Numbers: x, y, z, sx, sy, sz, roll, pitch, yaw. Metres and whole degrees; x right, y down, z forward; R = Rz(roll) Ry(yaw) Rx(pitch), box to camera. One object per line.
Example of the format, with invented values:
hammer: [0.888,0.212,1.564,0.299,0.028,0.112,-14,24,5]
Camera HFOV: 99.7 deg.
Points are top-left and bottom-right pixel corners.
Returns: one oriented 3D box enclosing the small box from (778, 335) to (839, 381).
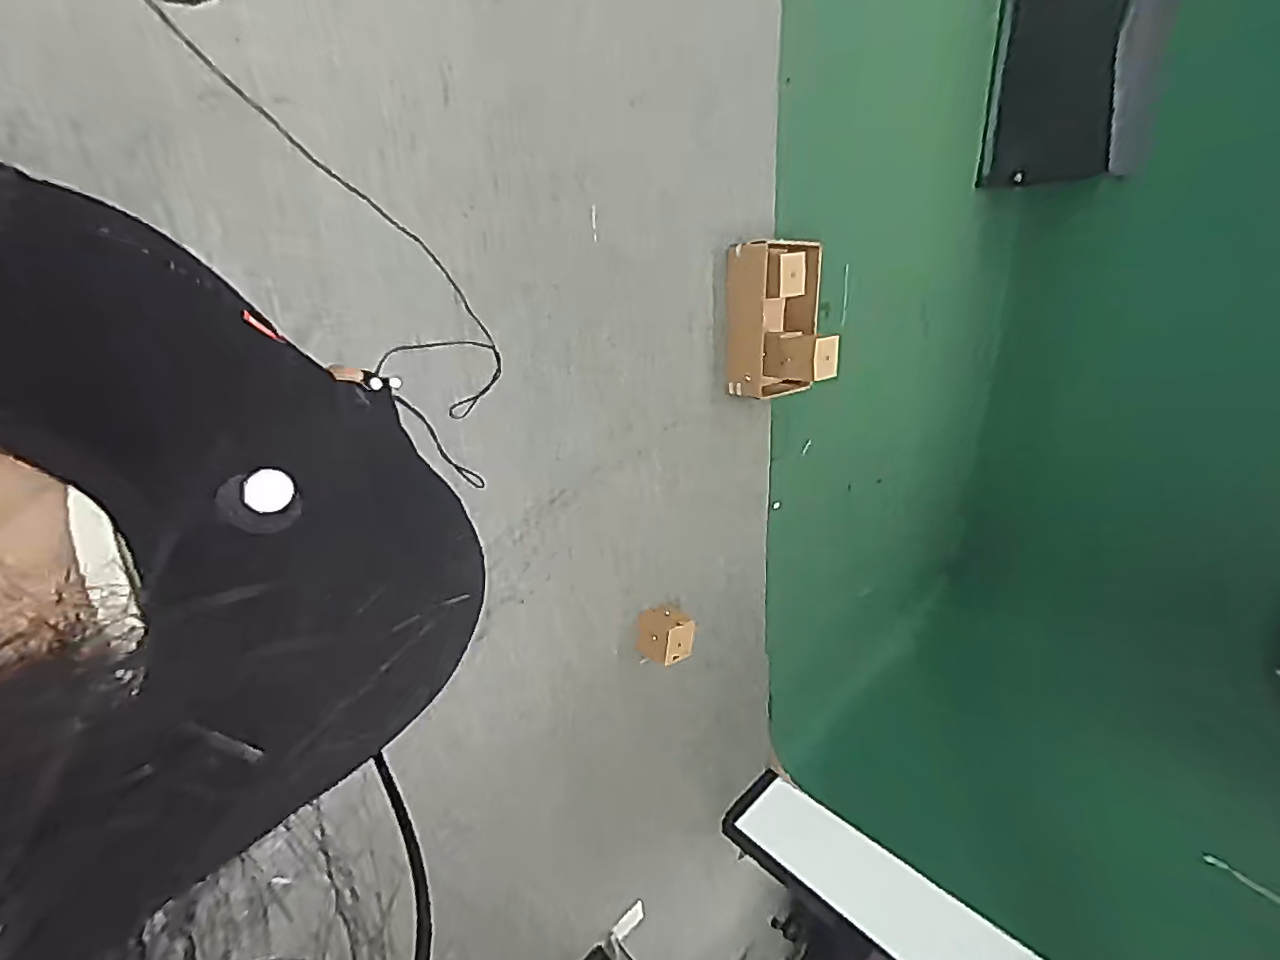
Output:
small box: [0.687,-0.503,2.208,0.179,0.176,0.168,-19,114,-38]

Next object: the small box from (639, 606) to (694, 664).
small box: [0.110,0.657,2.328,0.168,0.176,0.179,-6,106,-43]
